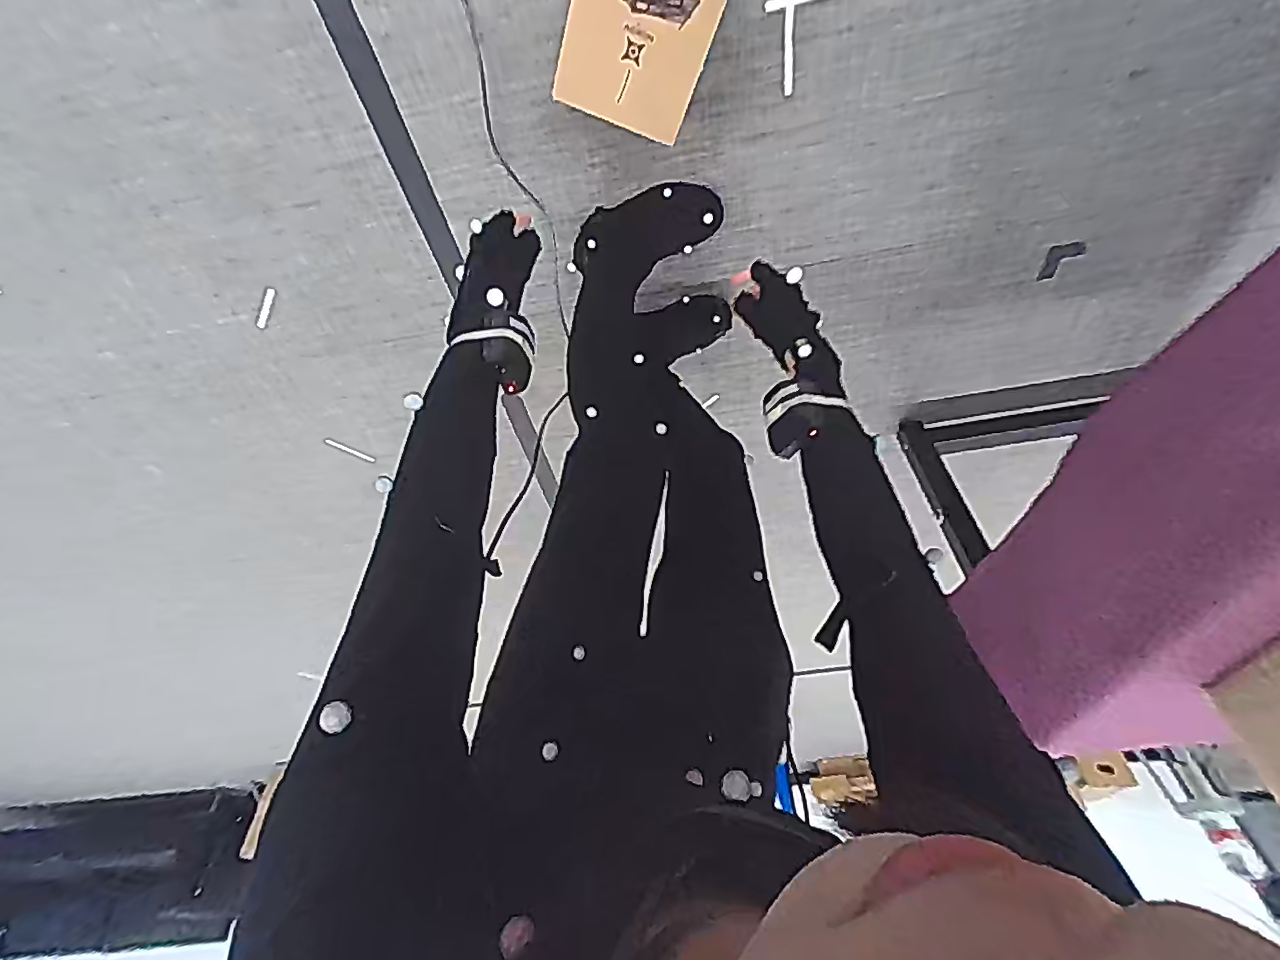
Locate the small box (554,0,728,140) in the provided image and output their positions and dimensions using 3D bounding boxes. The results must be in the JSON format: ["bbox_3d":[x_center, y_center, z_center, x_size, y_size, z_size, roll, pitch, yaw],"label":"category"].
[{"bbox_3d":[-0.003,-0.571,0.669,0.168,0.176,0.179,13,137,-16],"label":"small box"}]
